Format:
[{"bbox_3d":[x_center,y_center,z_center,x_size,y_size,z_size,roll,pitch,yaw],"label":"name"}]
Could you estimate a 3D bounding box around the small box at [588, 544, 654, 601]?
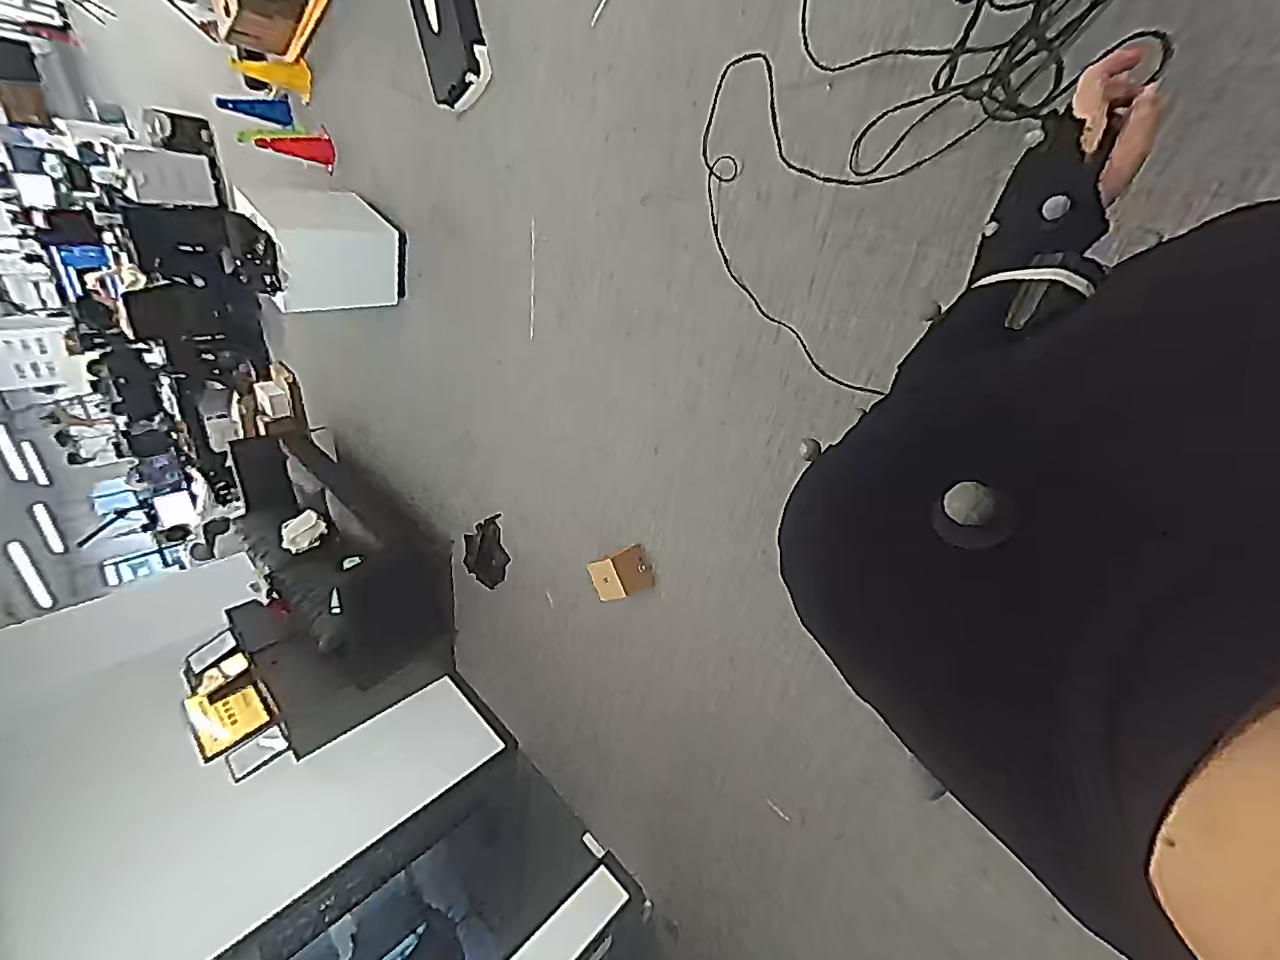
[{"bbox_3d":[-0.076,0.376,2.197,0.179,0.176,0.168,-24,90,48],"label":"small box"}]
